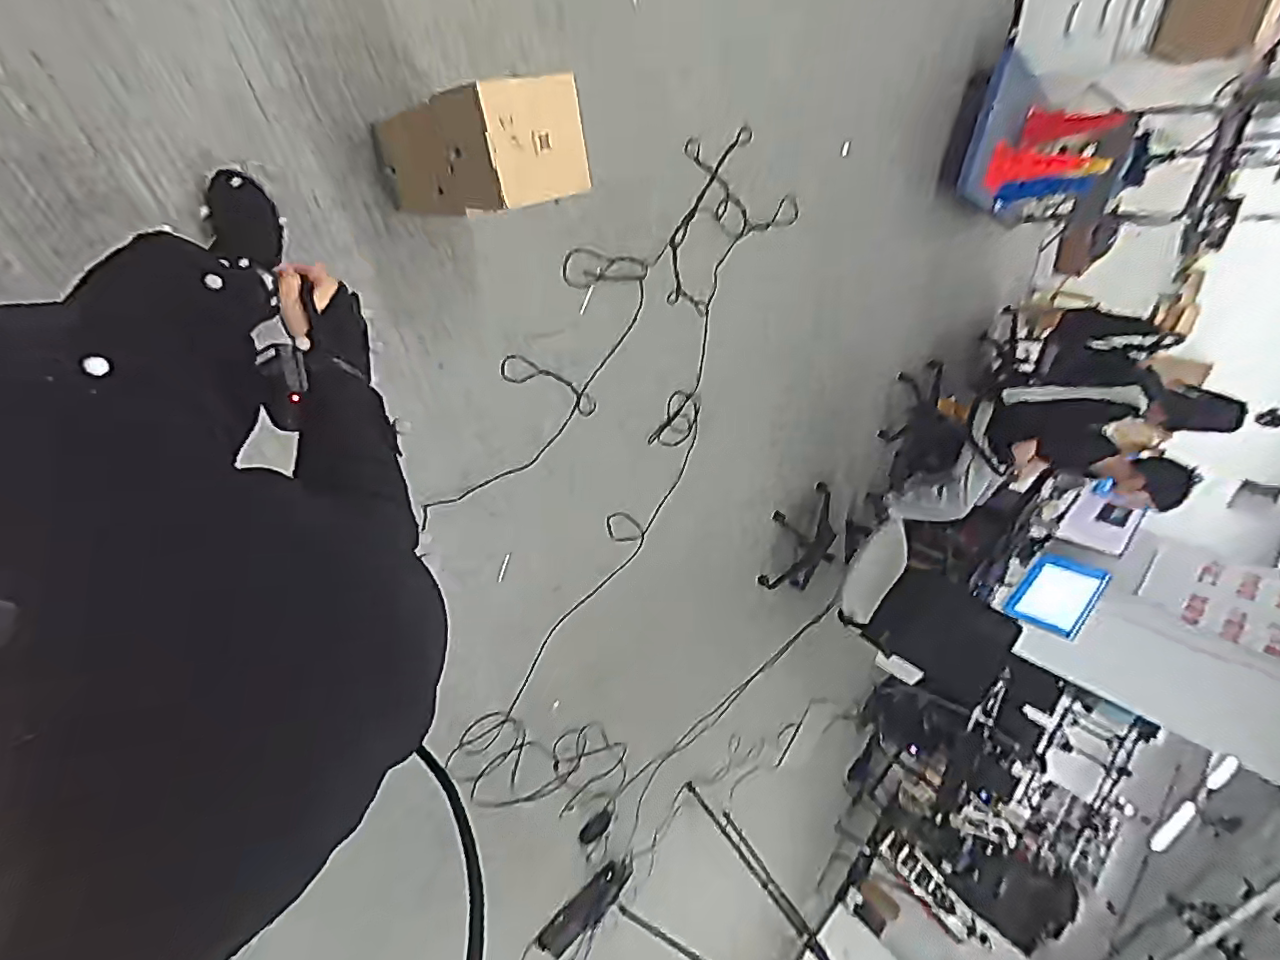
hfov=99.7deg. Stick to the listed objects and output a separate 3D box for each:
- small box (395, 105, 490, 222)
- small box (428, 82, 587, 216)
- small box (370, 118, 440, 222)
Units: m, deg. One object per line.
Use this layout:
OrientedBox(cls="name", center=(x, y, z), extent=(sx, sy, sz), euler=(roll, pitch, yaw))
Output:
OrientedBox(cls="small box", center=(-0.325, -0.596, 1.012), extent=(0.168, 0.176, 0.179), euler=(-33, 129, -30))
OrientedBox(cls="small box", center=(-0.217, -0.546, 0.897), extent=(0.179, 0.176, 0.168), euler=(-32, 129, -30))
OrientedBox(cls="small box", center=(-0.429, -0.650, 1.125), extent=(0.168, 0.176, 0.179), euler=(-30, 130, -31))
